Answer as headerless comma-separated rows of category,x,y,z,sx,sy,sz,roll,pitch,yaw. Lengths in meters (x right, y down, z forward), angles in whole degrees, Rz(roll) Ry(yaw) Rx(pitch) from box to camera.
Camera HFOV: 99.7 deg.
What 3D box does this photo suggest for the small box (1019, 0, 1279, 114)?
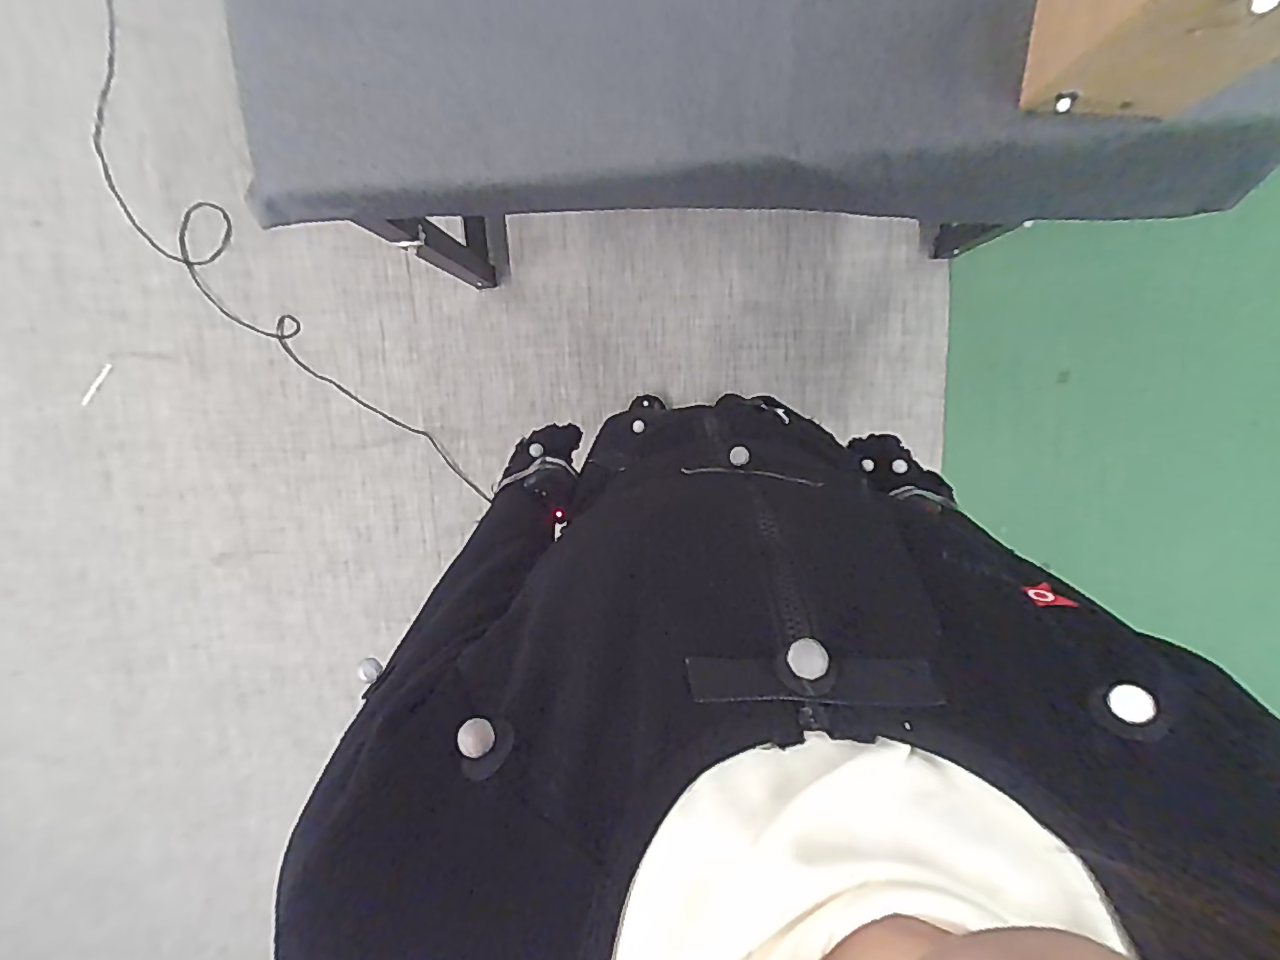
small box,0.507,-0.487,0.519,0.168,0.176,0.179,5,98,2
